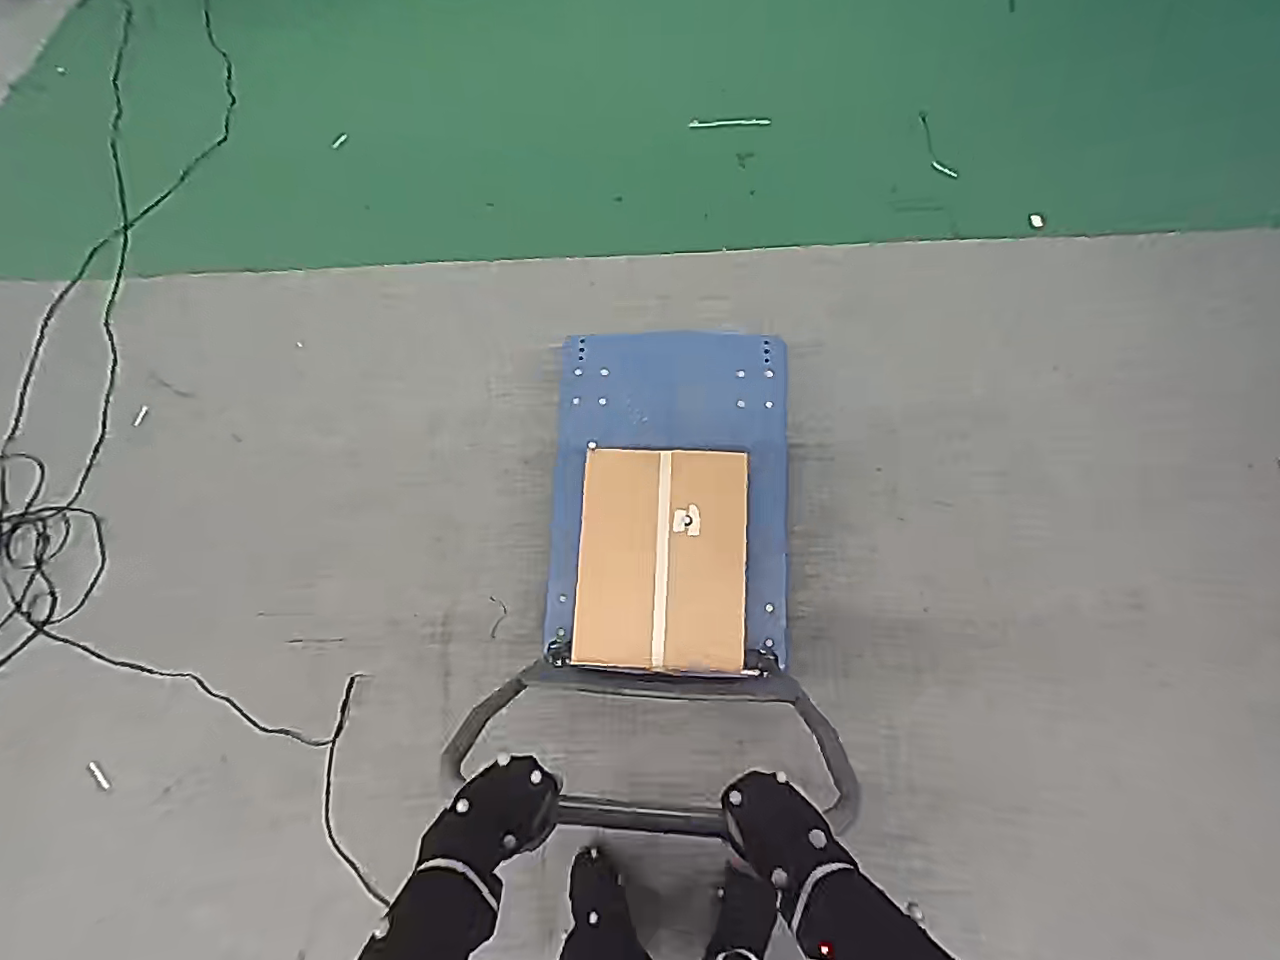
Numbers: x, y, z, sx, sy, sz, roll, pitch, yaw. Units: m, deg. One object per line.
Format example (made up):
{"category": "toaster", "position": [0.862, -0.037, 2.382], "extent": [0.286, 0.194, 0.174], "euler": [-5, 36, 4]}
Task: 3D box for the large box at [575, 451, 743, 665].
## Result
{"category": "large box", "position": [0.054, 0.173, 1.178], "extent": [0.320, 0.320, 0.408], "euler": [2, 78, 5]}
